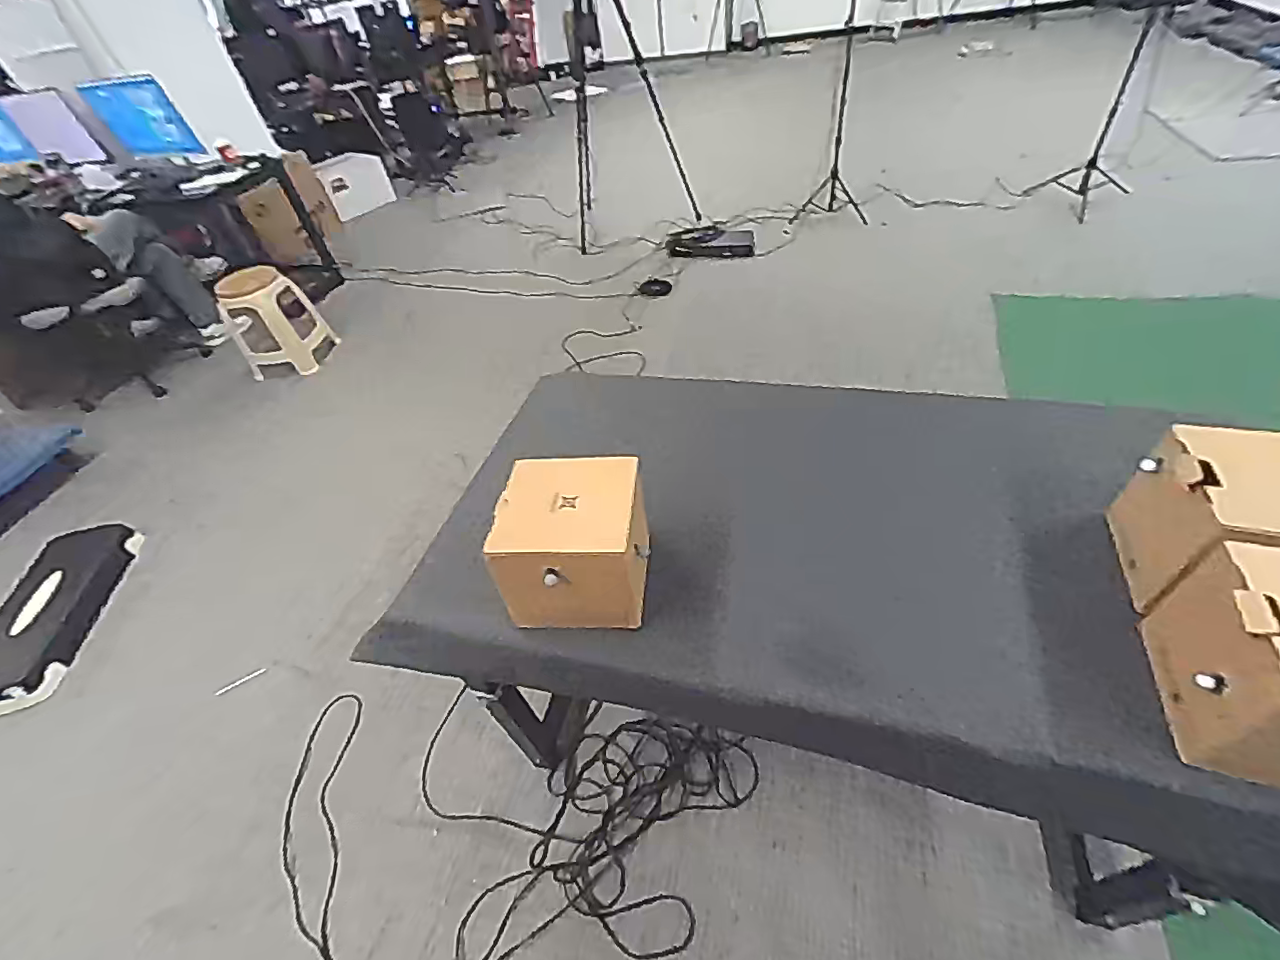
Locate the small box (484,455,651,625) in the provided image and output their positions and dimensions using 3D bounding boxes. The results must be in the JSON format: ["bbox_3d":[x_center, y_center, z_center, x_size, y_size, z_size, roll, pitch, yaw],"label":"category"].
[{"bbox_3d":[-0.082,0.083,0.737,0.179,0.176,0.168,-1,44,9],"label":"small box"}]
